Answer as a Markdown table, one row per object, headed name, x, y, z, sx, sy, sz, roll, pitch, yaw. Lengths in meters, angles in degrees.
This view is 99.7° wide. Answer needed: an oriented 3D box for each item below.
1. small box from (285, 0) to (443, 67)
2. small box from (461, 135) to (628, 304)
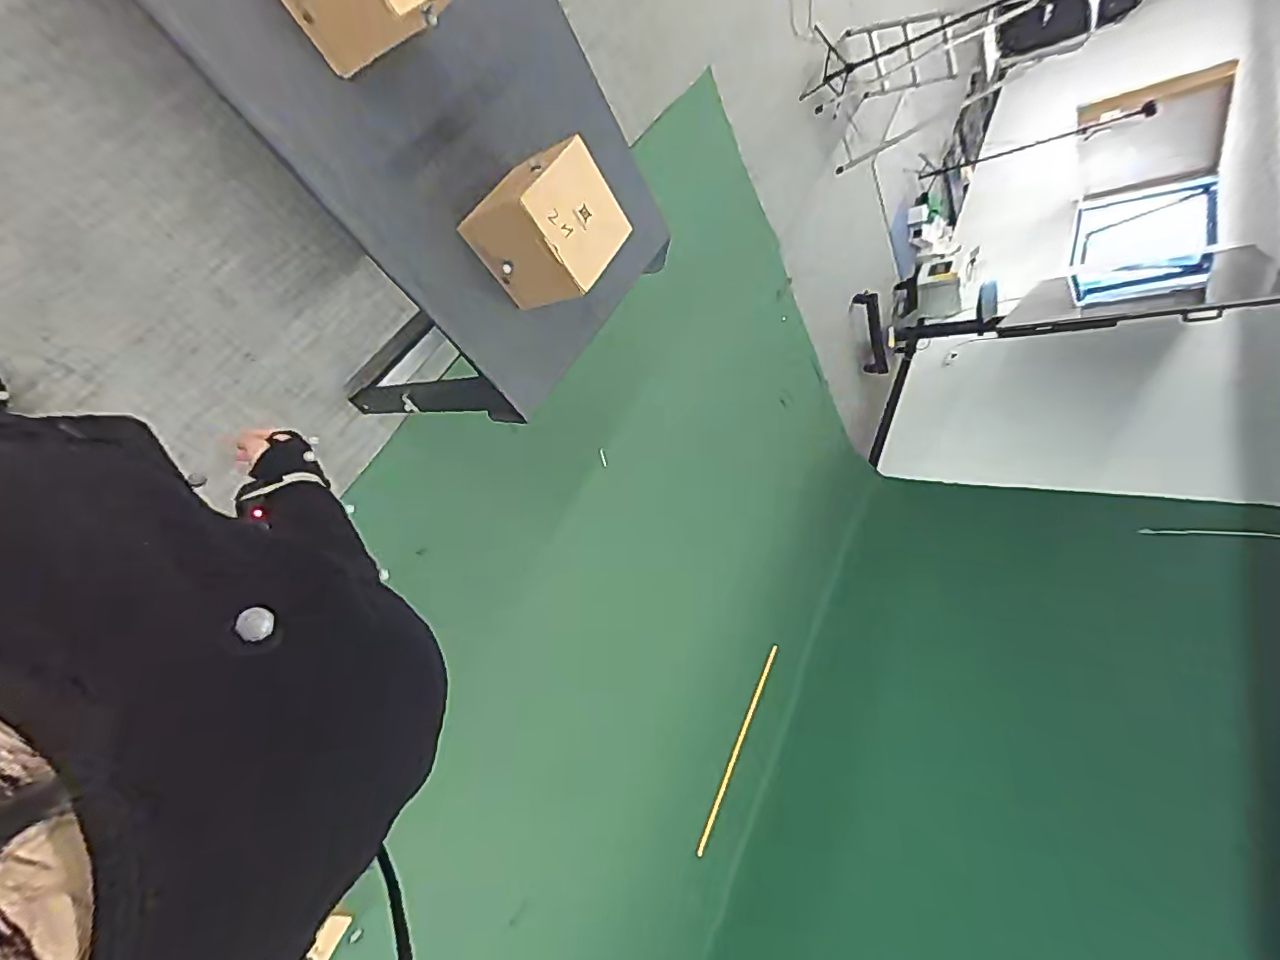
| name | x | y | z | sx | sy | sz | roll | pitch | yaw |
| --- | --- | --- | --- | --- | --- | --- | --- | --- | --- |
| small box | -0.338 | -0.652 | 0.654 | 0.168 | 0.176 | 0.179 | 54 | 56 | -39 |
| small box | -0.156 | -0.416 | 0.887 | 0.168 | 0.176 | 0.179 | 51 | 58 | -38 |
